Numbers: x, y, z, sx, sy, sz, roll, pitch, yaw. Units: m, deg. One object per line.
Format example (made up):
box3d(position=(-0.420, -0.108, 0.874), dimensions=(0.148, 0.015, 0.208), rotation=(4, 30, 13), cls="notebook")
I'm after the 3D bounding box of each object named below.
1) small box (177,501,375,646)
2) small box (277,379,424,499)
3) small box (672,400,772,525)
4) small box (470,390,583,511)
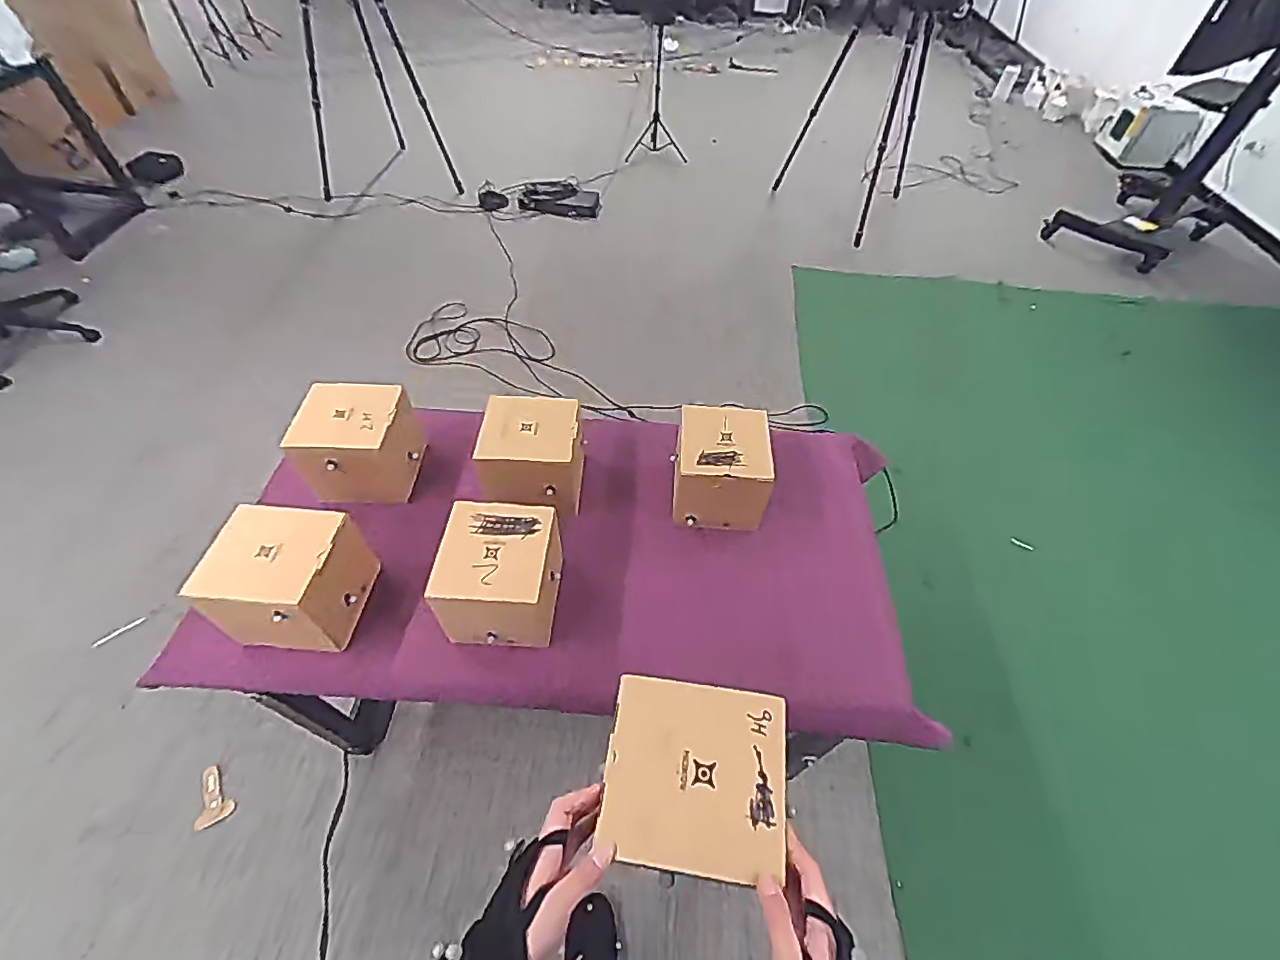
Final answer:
box3d(position=(-0.562, 0.153, 0.866), dimensions=(0.179, 0.176, 0.168), rotation=(5, 50, 0), cls="small box")
box3d(position=(-0.545, -0.075, 1.045), dimensions=(0.179, 0.176, 0.168), rotation=(2, 53, -1), cls="small box")
box3d(position=(0.151, -0.030, 1.038), dimensions=(0.168, 0.176, 0.179), rotation=(4, 51, 1), cls="small box")
box3d(position=(-0.207, -0.053, 1.045), dimensions=(0.179, 0.176, 0.168), rotation=(2, 52, 0), cls="small box")
